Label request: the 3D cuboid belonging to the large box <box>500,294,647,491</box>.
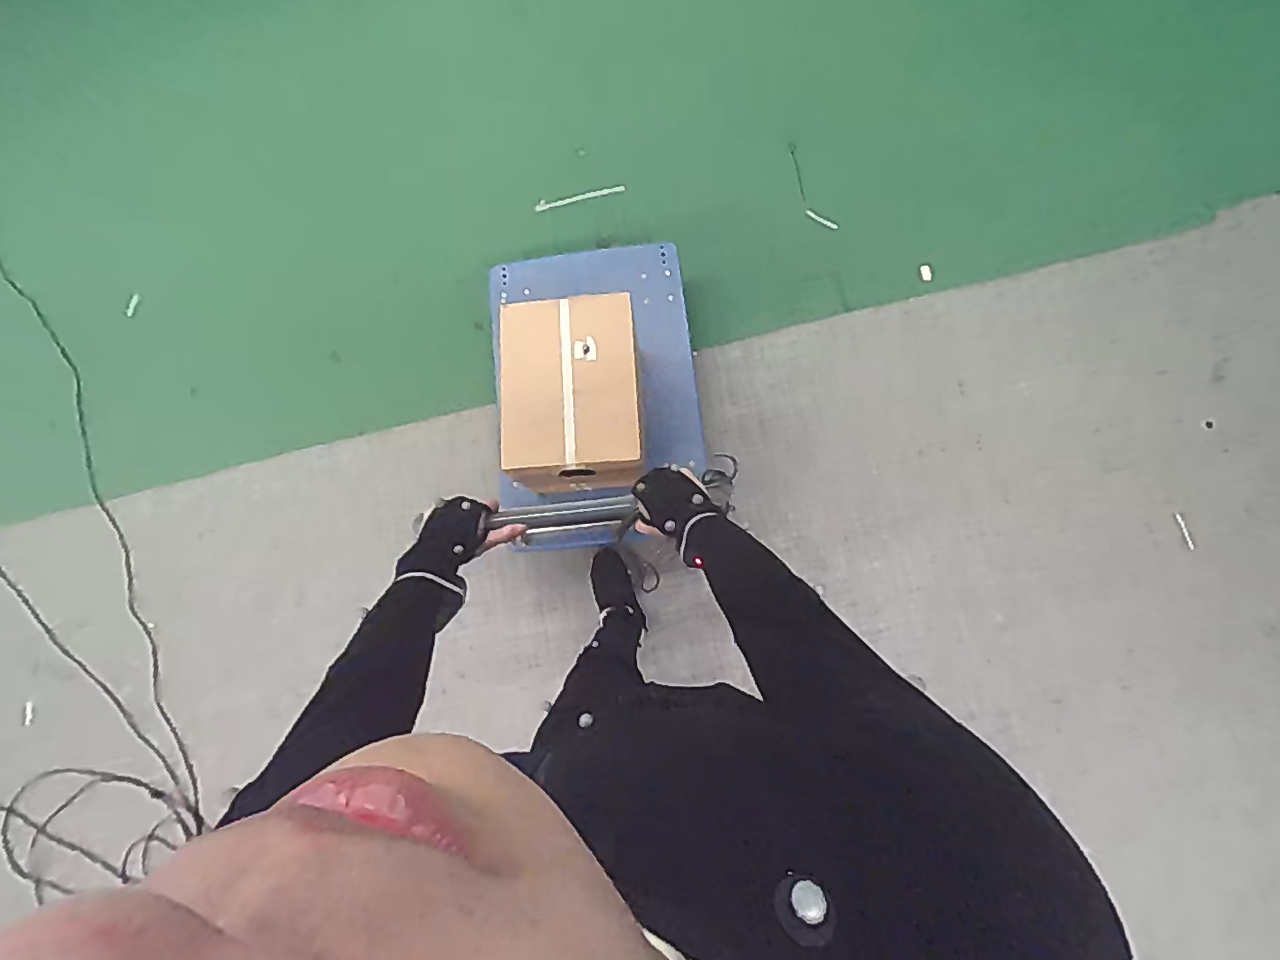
[{"bbox_3d":[-0.157,-0.203,1.379,0.320,0.320,0.408,-4,78,2],"label":"large box"}]
